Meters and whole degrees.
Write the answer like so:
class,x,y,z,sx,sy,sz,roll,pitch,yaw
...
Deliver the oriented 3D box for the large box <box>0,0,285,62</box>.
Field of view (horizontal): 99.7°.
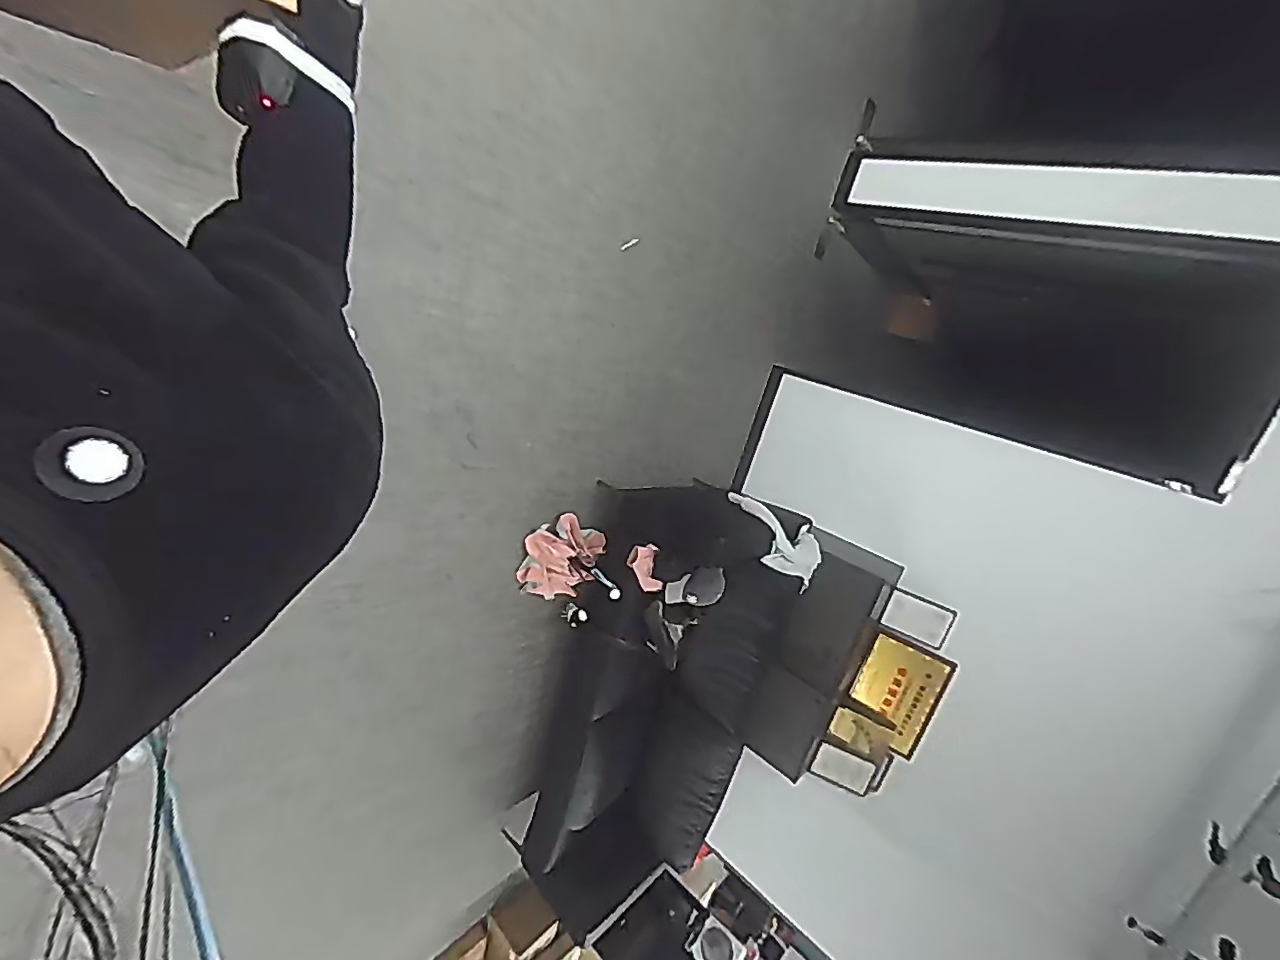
class,x,y,z,sx,sy,sz,roll,pitch,yaw
large box,-0.486,-0.506,0.298,0.408,0.320,0.320,-14,117,-50
